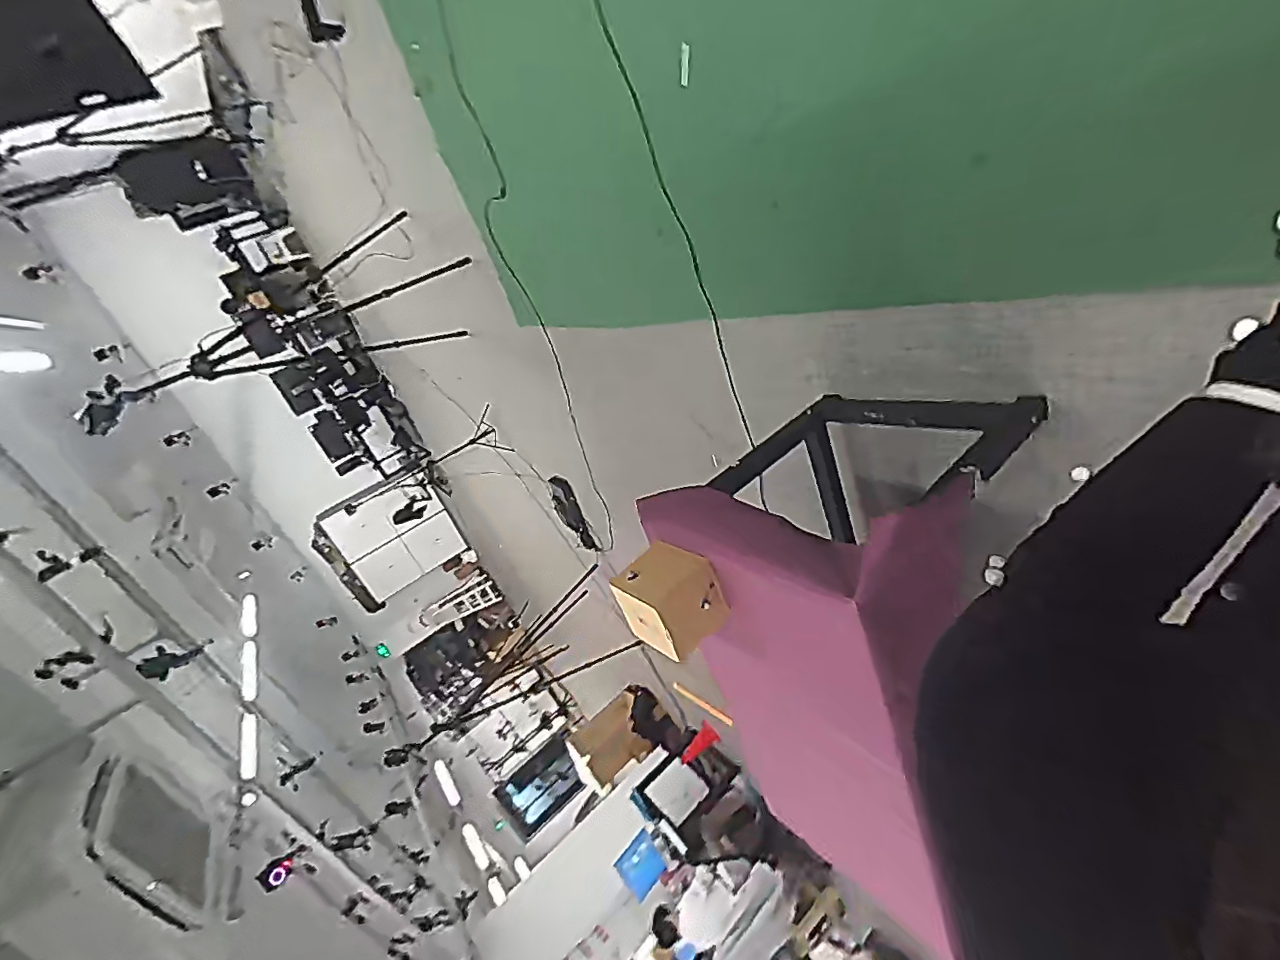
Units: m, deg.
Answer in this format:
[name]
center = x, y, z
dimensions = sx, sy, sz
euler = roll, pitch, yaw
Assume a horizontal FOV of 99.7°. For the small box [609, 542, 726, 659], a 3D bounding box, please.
[small box]
center = 0.066, 0.263, 1.230
dimensions = 0.179, 0.176, 0.168
euler = 15, 134, 51
